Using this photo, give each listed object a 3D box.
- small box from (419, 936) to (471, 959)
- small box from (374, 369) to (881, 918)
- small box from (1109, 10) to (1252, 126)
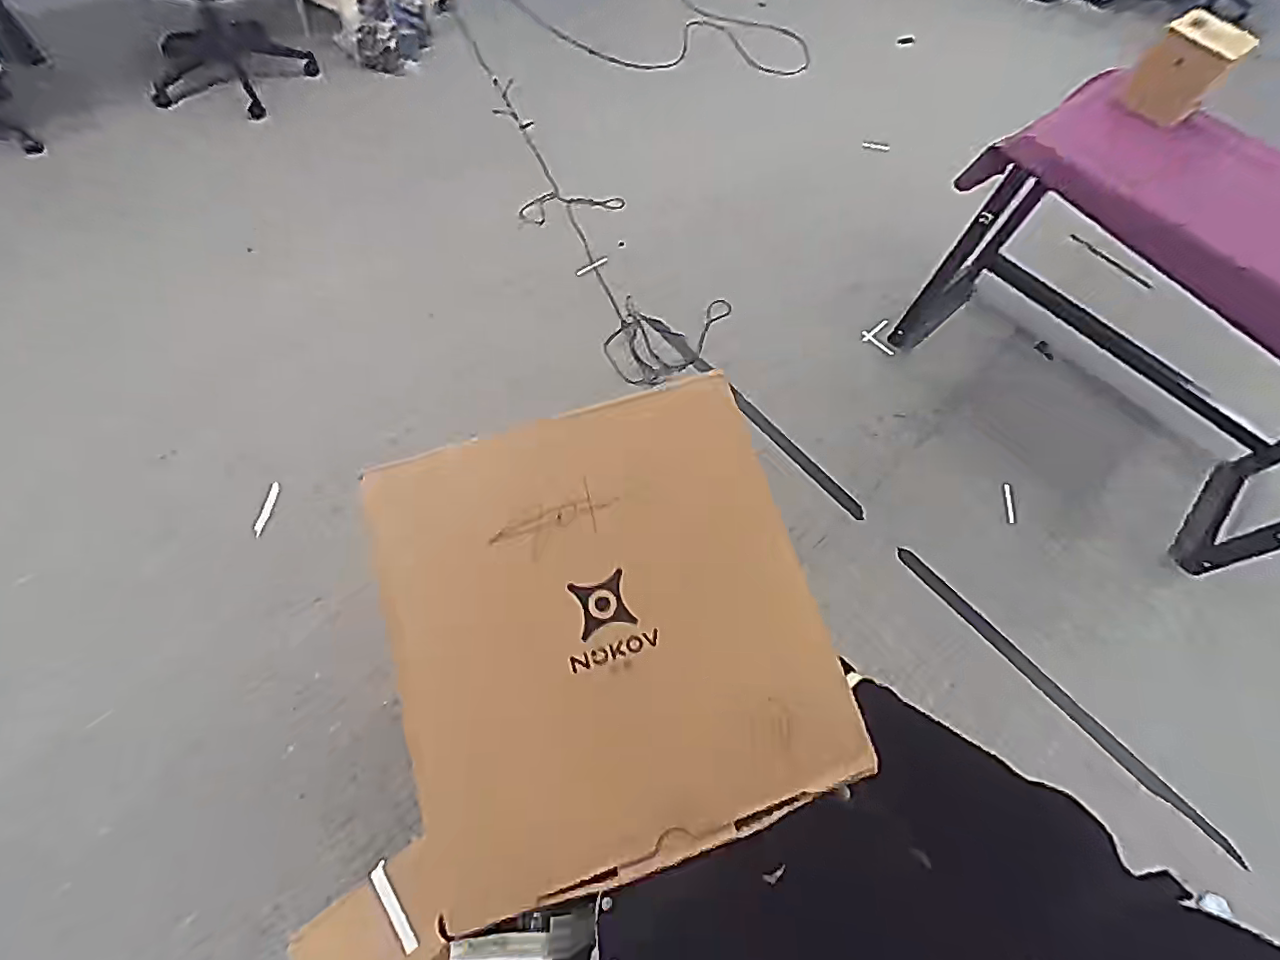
[{"bbox_3d":[-0.261,0.680,0.617,0.179,0.176,0.168,-32,70,-21],"label":"small box"},{"bbox_3d":[-0.012,0.073,0.293,0.168,0.176,0.179,-17,74,-7],"label":"small box"},{"bbox_3d":[1.393,-1.067,1.407,0.168,0.176,0.179,-35,73,-19],"label":"small box"}]
